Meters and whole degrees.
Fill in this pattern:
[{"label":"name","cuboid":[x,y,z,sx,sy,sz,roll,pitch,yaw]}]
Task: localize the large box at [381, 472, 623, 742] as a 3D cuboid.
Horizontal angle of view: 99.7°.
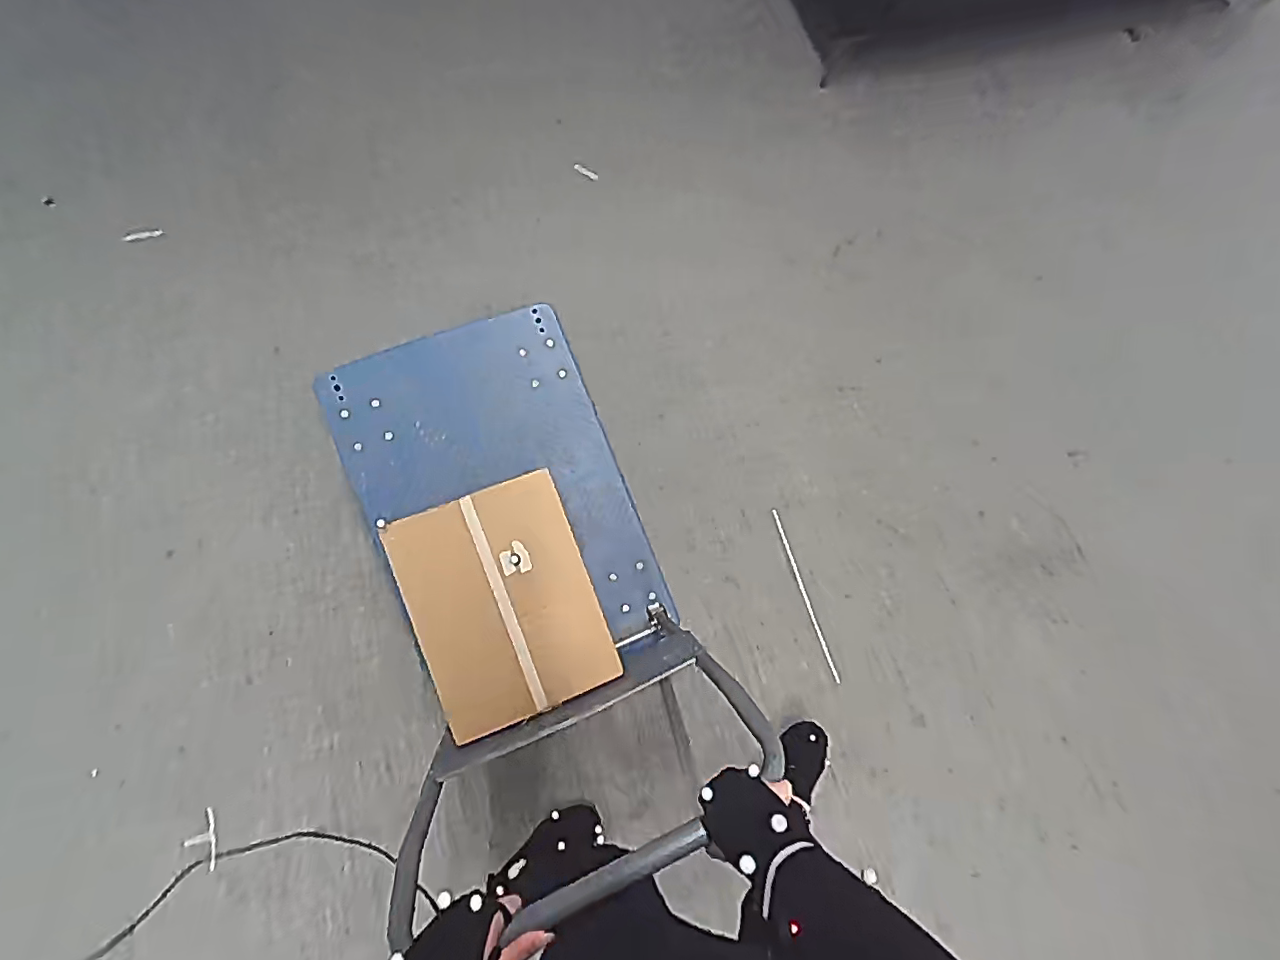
[{"label":"large box","cuboid":[-0.262,0.233,1.110,0.320,0.320,0.408,-21,89,-11]}]
